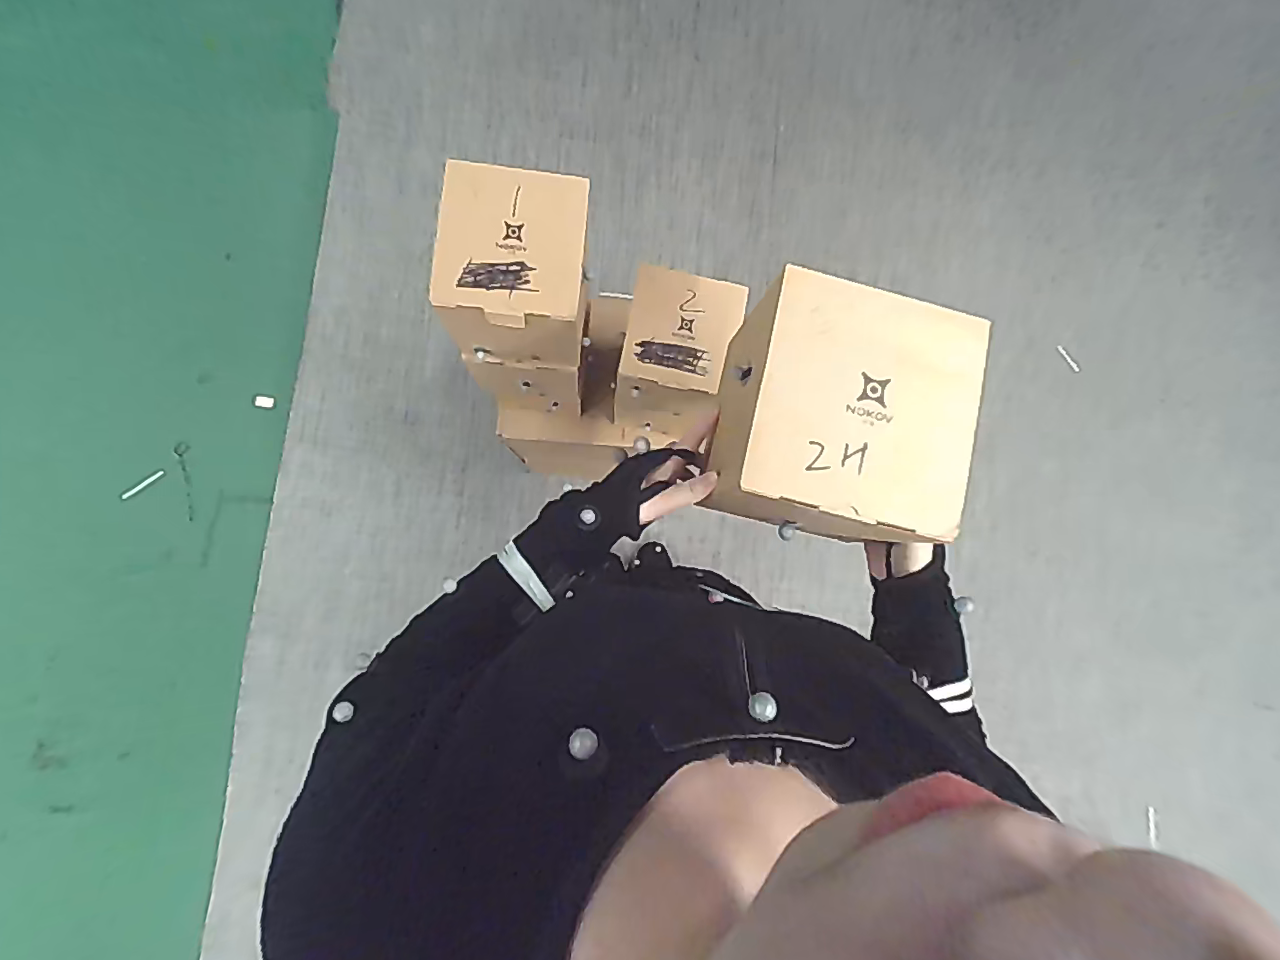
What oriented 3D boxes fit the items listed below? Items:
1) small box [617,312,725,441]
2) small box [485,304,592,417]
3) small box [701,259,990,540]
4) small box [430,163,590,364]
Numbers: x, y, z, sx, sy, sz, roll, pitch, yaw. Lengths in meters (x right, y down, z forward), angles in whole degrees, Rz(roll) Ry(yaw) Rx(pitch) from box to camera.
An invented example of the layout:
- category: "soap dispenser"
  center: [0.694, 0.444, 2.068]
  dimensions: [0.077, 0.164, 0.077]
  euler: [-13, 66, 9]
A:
- category: "small box"
  center: [0.050, -0.187, 1.024]
  dimensions: [0.168, 0.176, 0.179]
  euler: [11, 83, -1]
- category: "small box"
  center: [-0.181, -0.225, 1.015]
  dimensions: [0.168, 0.176, 0.179]
  euler: [7, 83, -5]
- category: "small box"
  center: [0.159, -0.051, 0.469]
  dimensions: [0.168, 0.176, 0.179]
  euler: [14, 82, -3]
- category: "small box"
  center: [-0.152, -0.260, 0.690]
  dimensions: [0.168, 0.176, 0.179]
  euler: [5, 82, -5]
